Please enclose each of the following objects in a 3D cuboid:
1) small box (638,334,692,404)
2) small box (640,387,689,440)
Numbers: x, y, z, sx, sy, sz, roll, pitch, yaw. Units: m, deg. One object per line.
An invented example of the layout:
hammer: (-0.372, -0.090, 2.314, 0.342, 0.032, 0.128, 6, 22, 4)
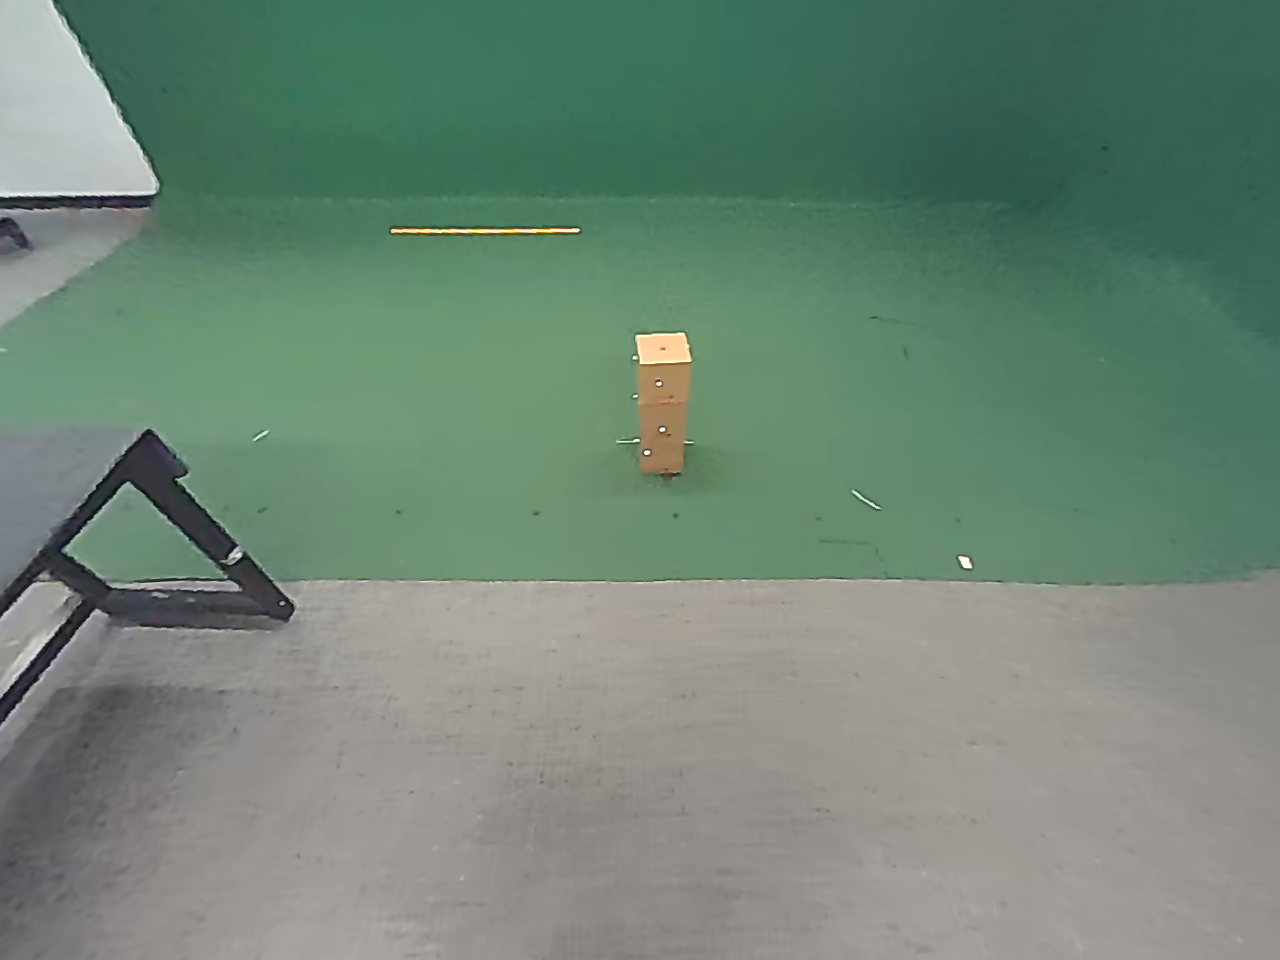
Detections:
small box: (0.084, -0.370, 1.831, 0.168, 0.176, 0.179, -4, 46, -3)
small box: (0.084, -0.261, 1.951, 0.168, 0.176, 0.179, -2, 47, -1)
